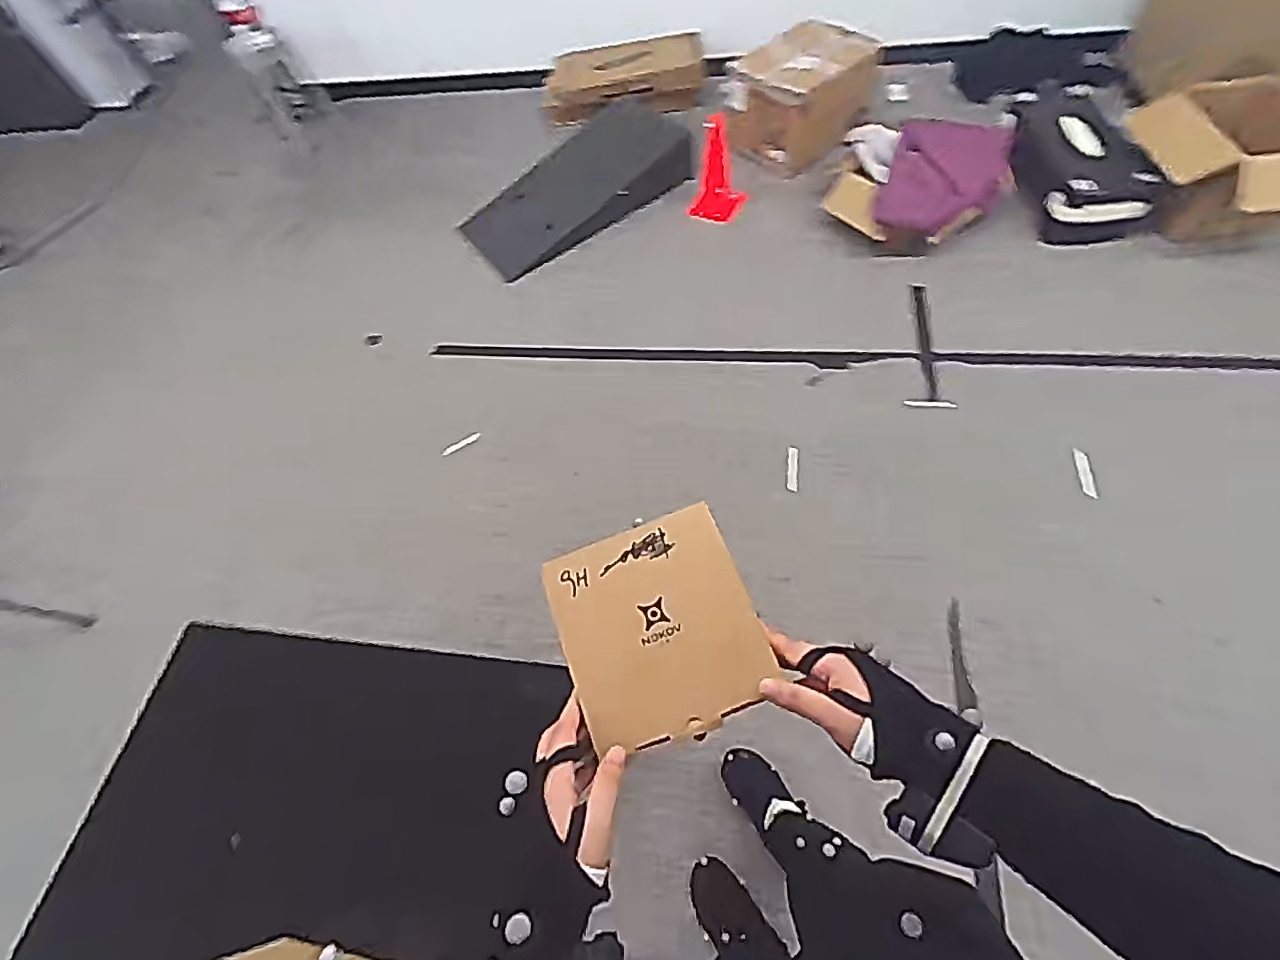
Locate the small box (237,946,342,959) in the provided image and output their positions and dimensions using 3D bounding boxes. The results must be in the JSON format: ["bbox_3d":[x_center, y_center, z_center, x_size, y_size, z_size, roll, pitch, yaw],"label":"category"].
[{"bbox_3d":[-0.343,0.550,0.470,0.168,0.176,0.179,4,60,10],"label":"small box"}]

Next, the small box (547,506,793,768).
[{"bbox_3d":[0.029,0.150,0.530,0.168,0.176,0.179,-20,70,-2],"label":"small box"}]
